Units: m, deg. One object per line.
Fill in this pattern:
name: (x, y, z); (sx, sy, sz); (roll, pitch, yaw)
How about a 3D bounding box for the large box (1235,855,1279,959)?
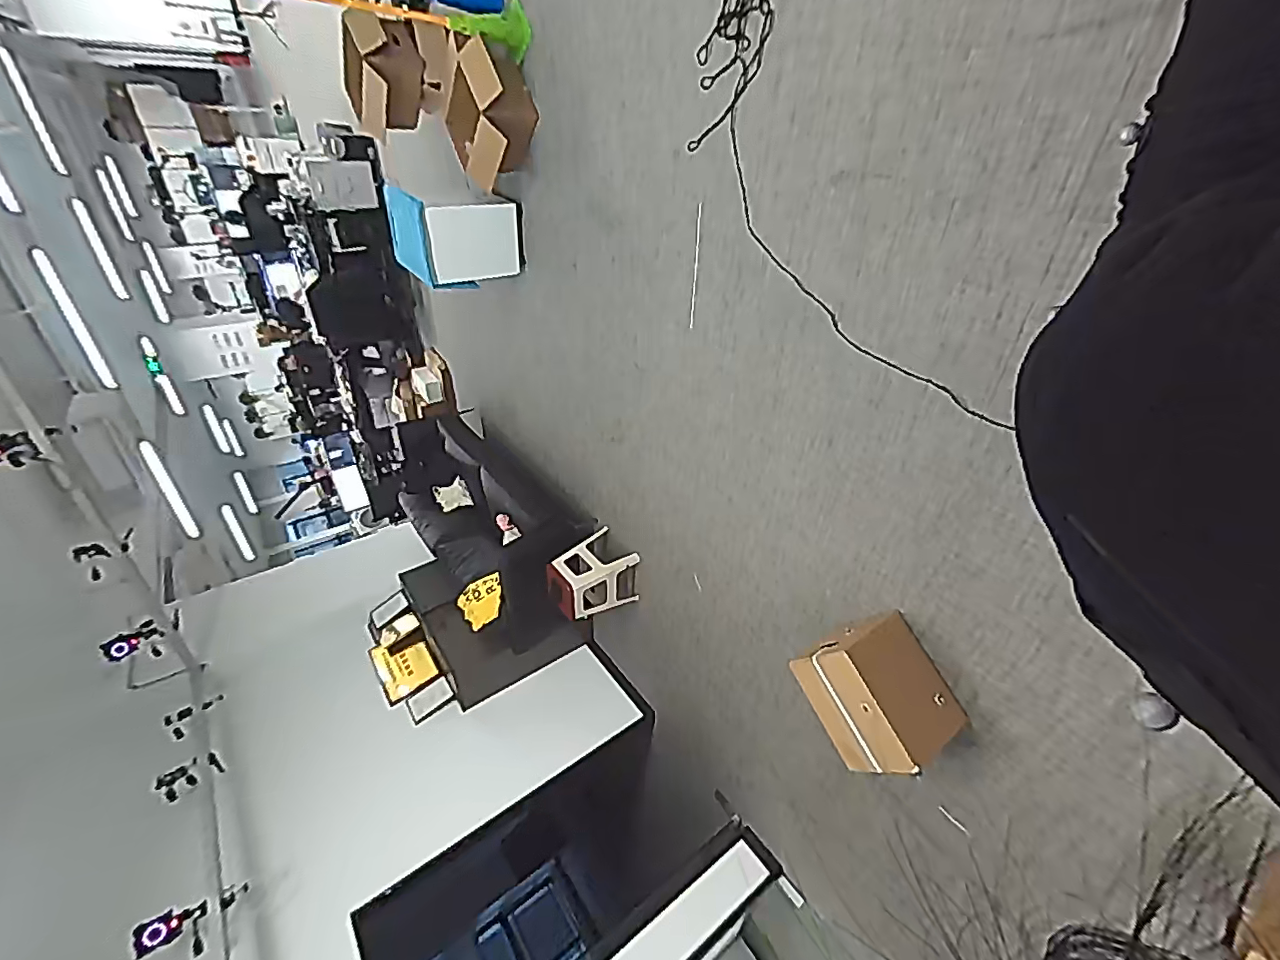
large box: (1.469, 1.068, 1.048); (0.408, 0.320, 0.320); (22, 127, 50)
